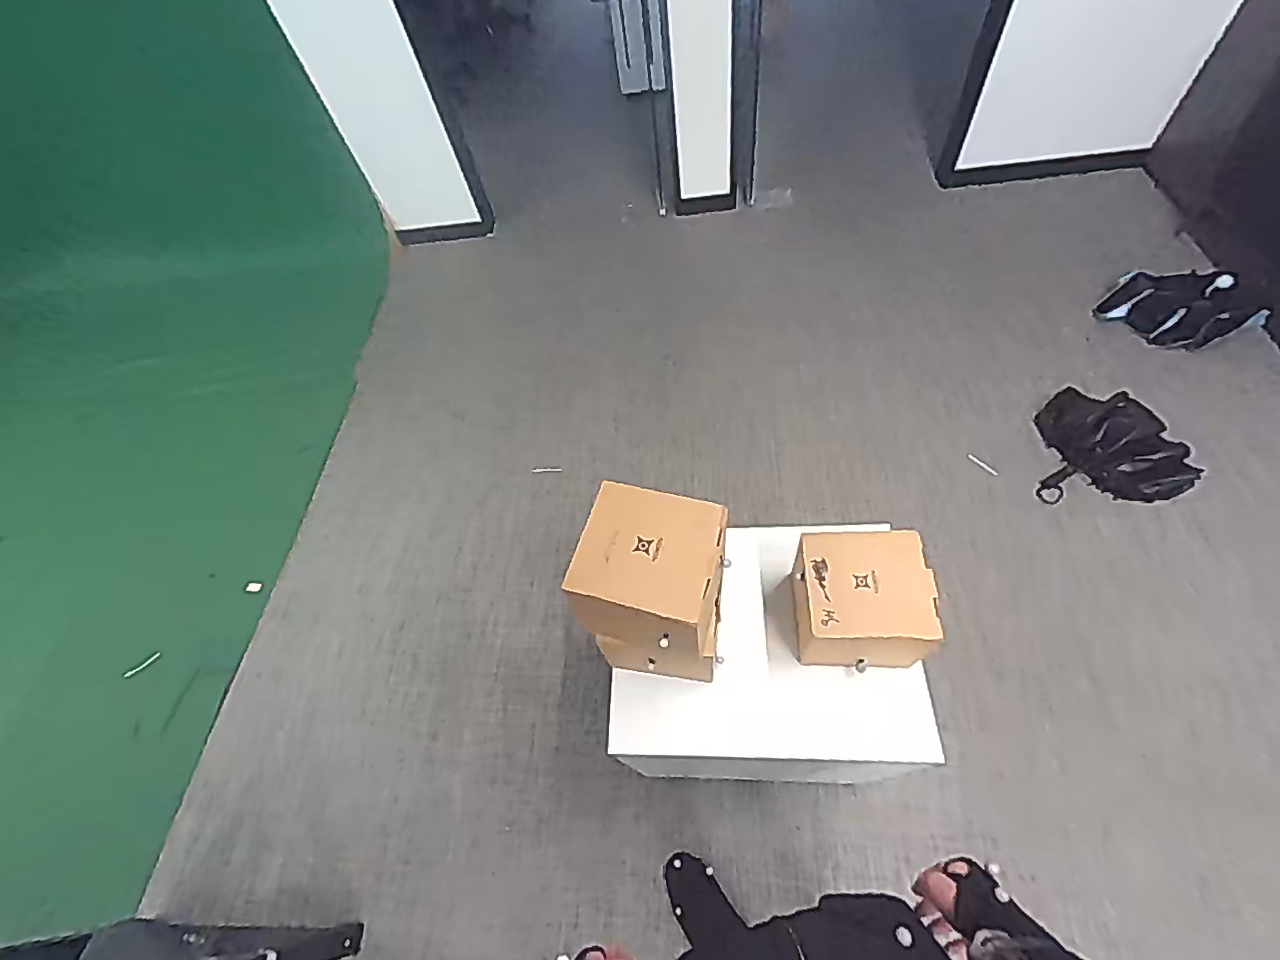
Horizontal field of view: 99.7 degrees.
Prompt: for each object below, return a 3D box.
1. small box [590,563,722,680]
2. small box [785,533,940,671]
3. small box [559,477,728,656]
[{"bbox_3d":[0.033,0.212,0.868,0.179,0.176,0.168,6,57,10],"label":"small box"},{"bbox_3d":[0.333,0.195,0.847,0.179,0.176,0.168,0,57,6],"label":"small box"},{"bbox_3d":[0.014,0.123,0.734,0.179,0.176,0.168,12,57,14],"label":"small box"}]
